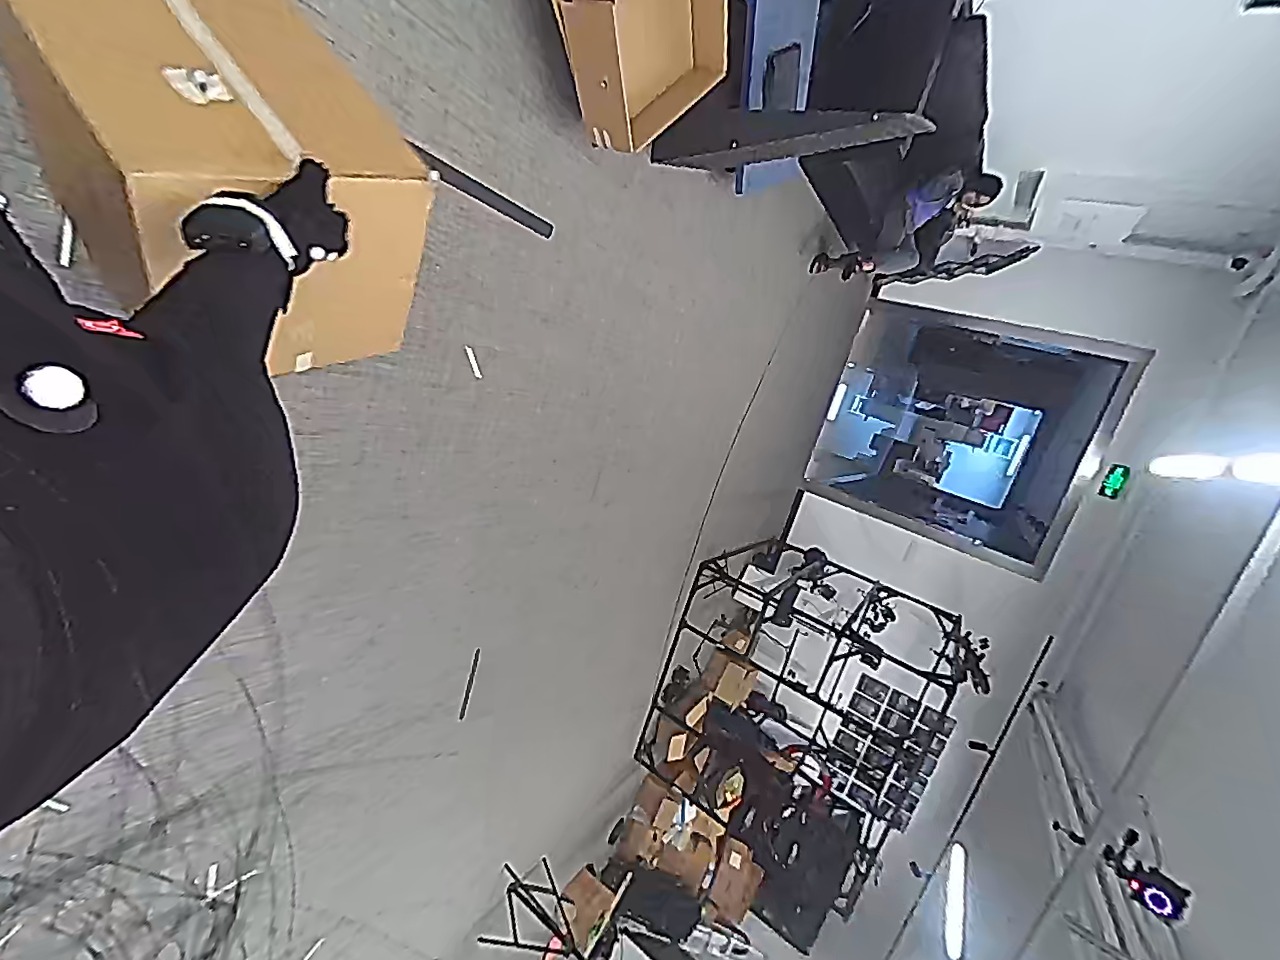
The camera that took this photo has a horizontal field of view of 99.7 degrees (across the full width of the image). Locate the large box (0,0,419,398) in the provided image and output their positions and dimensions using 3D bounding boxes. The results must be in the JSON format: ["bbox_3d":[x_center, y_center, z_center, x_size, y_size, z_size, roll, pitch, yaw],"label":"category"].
[{"bbox_3d":[-0.575,-0.385,0.730,0.320,0.408,0.320,-31,168,-43],"label":"large box"}]
